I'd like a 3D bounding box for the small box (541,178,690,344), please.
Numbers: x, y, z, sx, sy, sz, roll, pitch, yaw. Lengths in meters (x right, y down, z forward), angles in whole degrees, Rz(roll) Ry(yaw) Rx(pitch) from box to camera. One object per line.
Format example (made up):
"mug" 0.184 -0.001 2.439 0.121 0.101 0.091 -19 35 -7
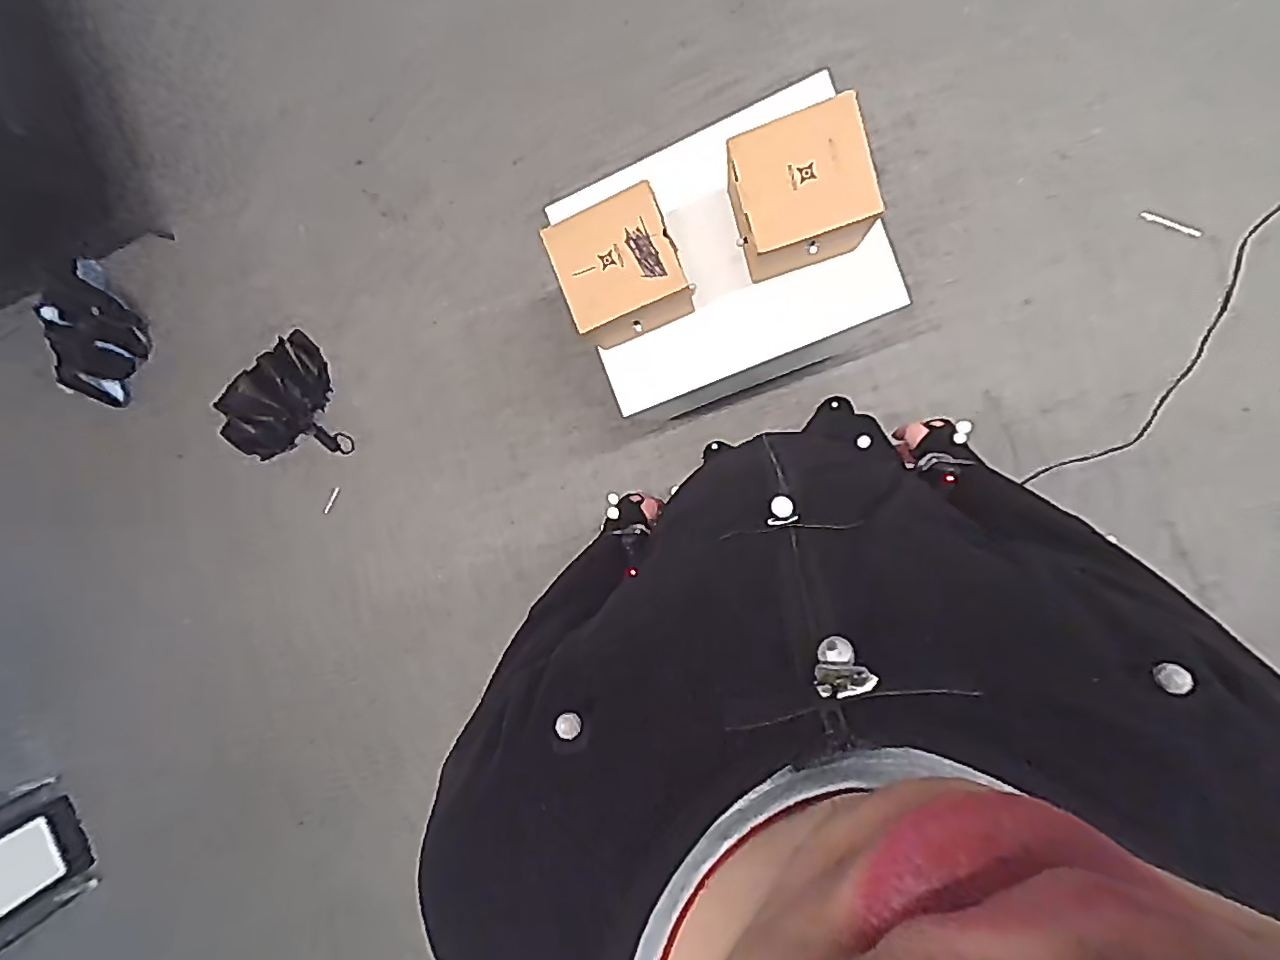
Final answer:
"small box" -0.027 -0.333 0.862 0.179 0.176 0.168 -21 92 12

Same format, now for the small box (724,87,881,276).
"small box" 0.233 -0.427 0.810 0.179 0.176 0.168 -16 94 11
